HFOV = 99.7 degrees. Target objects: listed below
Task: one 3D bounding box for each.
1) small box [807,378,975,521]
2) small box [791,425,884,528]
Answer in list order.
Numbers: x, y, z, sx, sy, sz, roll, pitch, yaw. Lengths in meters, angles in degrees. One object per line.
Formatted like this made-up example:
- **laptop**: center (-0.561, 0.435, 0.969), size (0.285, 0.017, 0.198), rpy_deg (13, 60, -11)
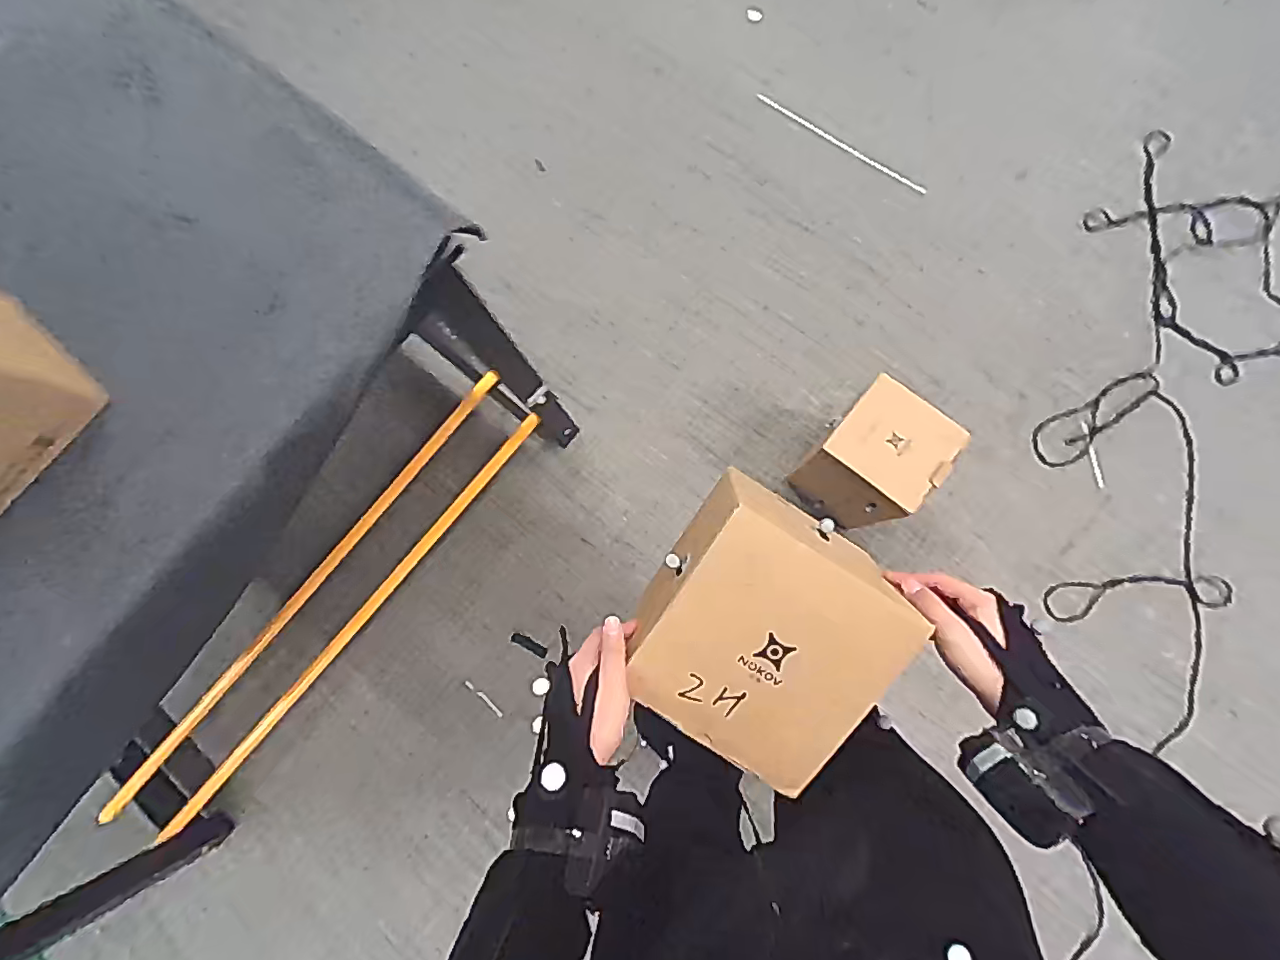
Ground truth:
- **small box**: center (0.420, -0.042, 0.938), size (0.179, 0.176, 0.168), rpy_deg (39, 85, 11)
- **small box**: center (0.437, -0.017, 1.097), size (0.179, 0.176, 0.168), rpy_deg (42, 85, 8)
